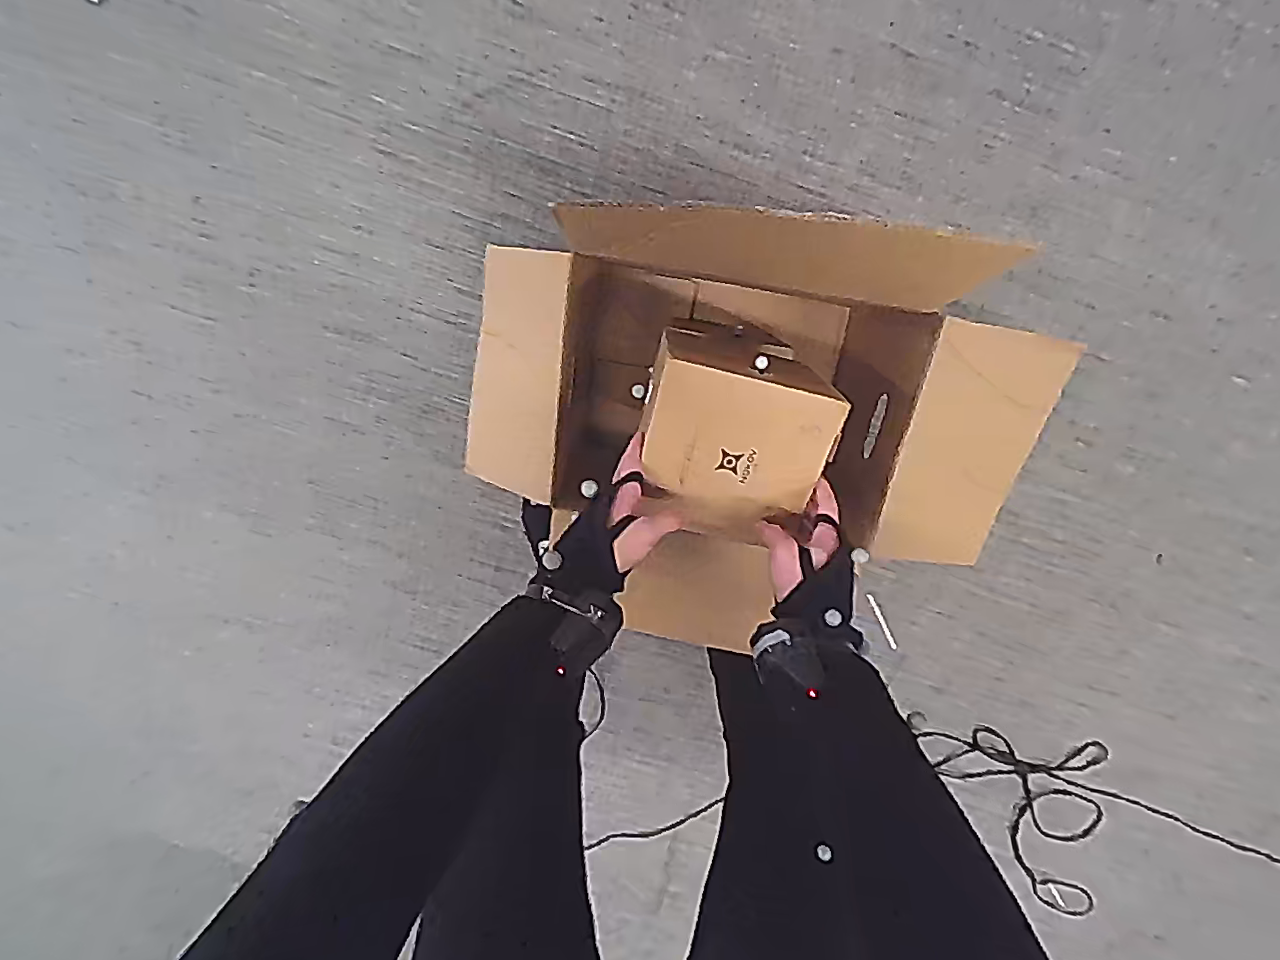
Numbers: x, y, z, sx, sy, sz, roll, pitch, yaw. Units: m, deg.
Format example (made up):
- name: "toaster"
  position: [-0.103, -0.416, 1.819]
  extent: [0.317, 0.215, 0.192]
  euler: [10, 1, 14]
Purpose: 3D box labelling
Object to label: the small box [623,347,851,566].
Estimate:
- name: "small box"
  position: [0.088, -0.036, 0.583]
  extent: [0.179, 0.176, 0.168]
  euler: [15, 111, -6]
